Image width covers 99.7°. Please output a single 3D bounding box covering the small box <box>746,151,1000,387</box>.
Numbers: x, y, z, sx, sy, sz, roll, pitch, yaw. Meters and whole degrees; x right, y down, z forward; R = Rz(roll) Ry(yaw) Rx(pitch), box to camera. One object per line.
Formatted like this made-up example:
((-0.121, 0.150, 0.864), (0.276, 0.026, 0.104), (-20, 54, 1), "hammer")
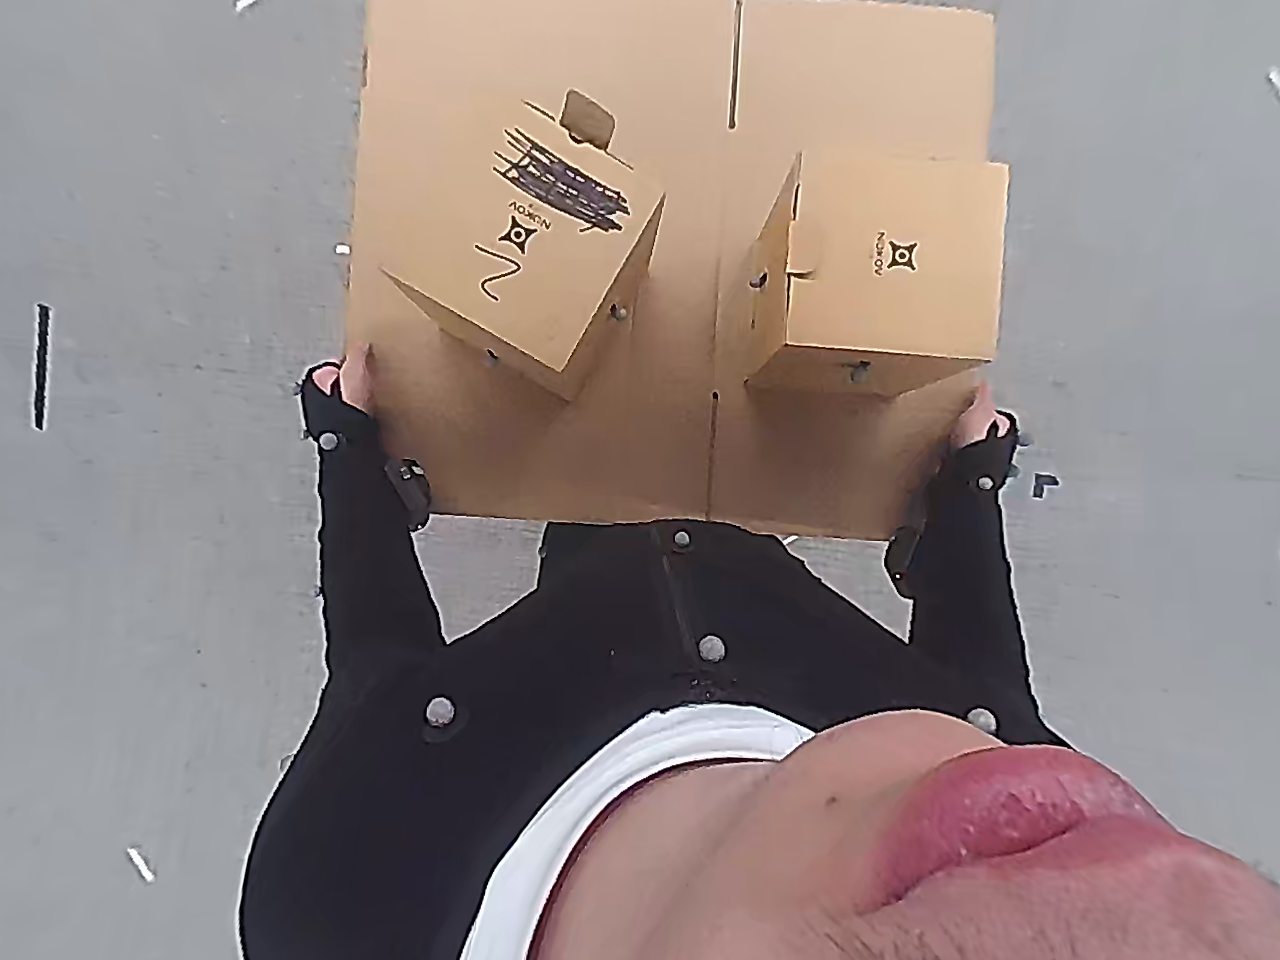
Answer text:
((0.214, -0.191, 0.540), (0.179, 0.176, 0.168), (5, 89, 1), "small box")
